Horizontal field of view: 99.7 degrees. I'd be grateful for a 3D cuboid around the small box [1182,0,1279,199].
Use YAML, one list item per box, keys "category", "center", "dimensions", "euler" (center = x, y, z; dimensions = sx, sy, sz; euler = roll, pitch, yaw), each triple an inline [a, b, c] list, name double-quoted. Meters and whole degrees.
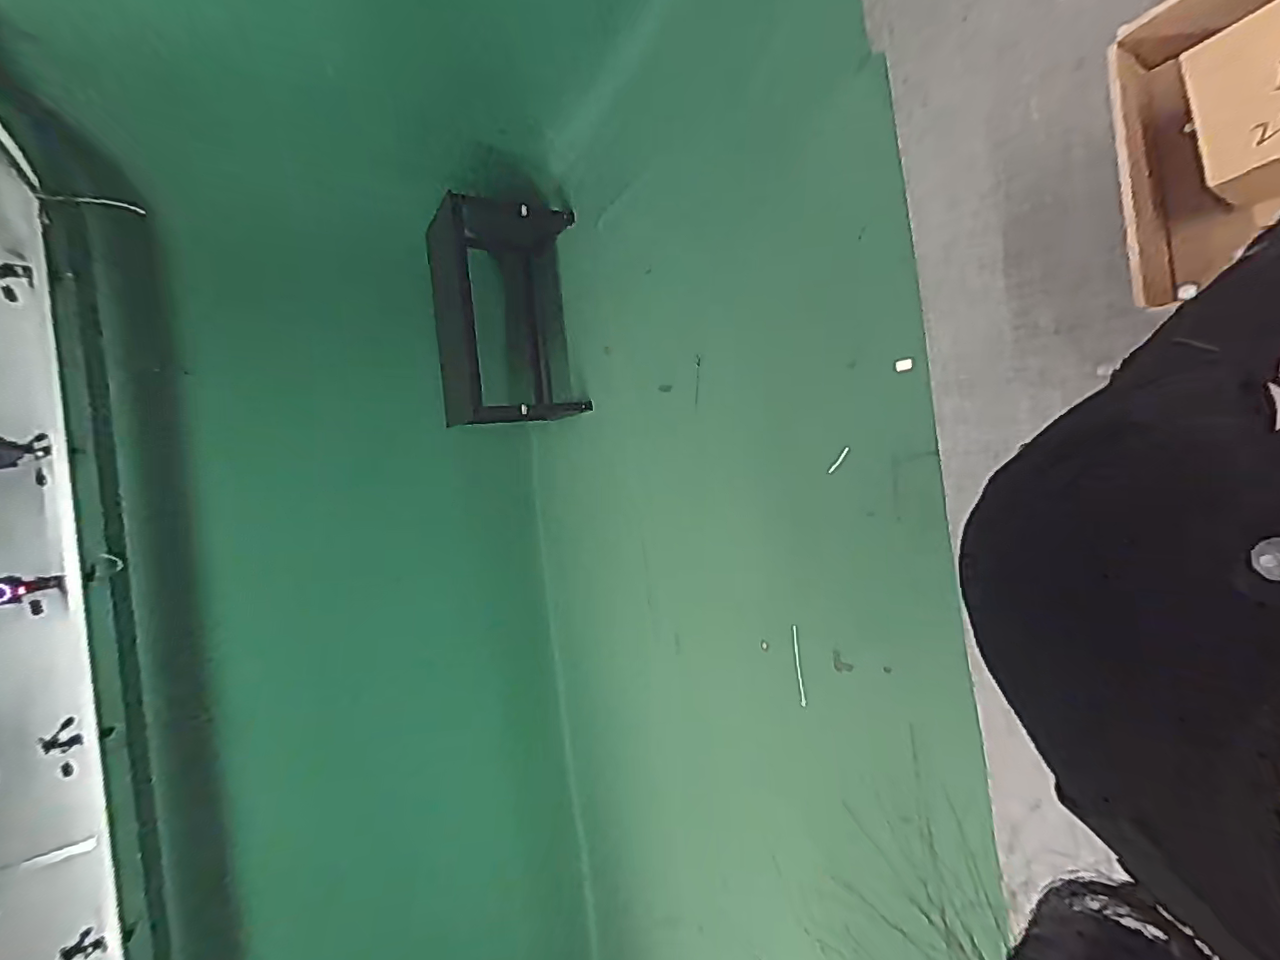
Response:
- category: "small box"
  center: [0.789, -0.467, 0.639]
  dimensions: [0.168, 0.176, 0.179]
  euler: [-13, 86, 58]
